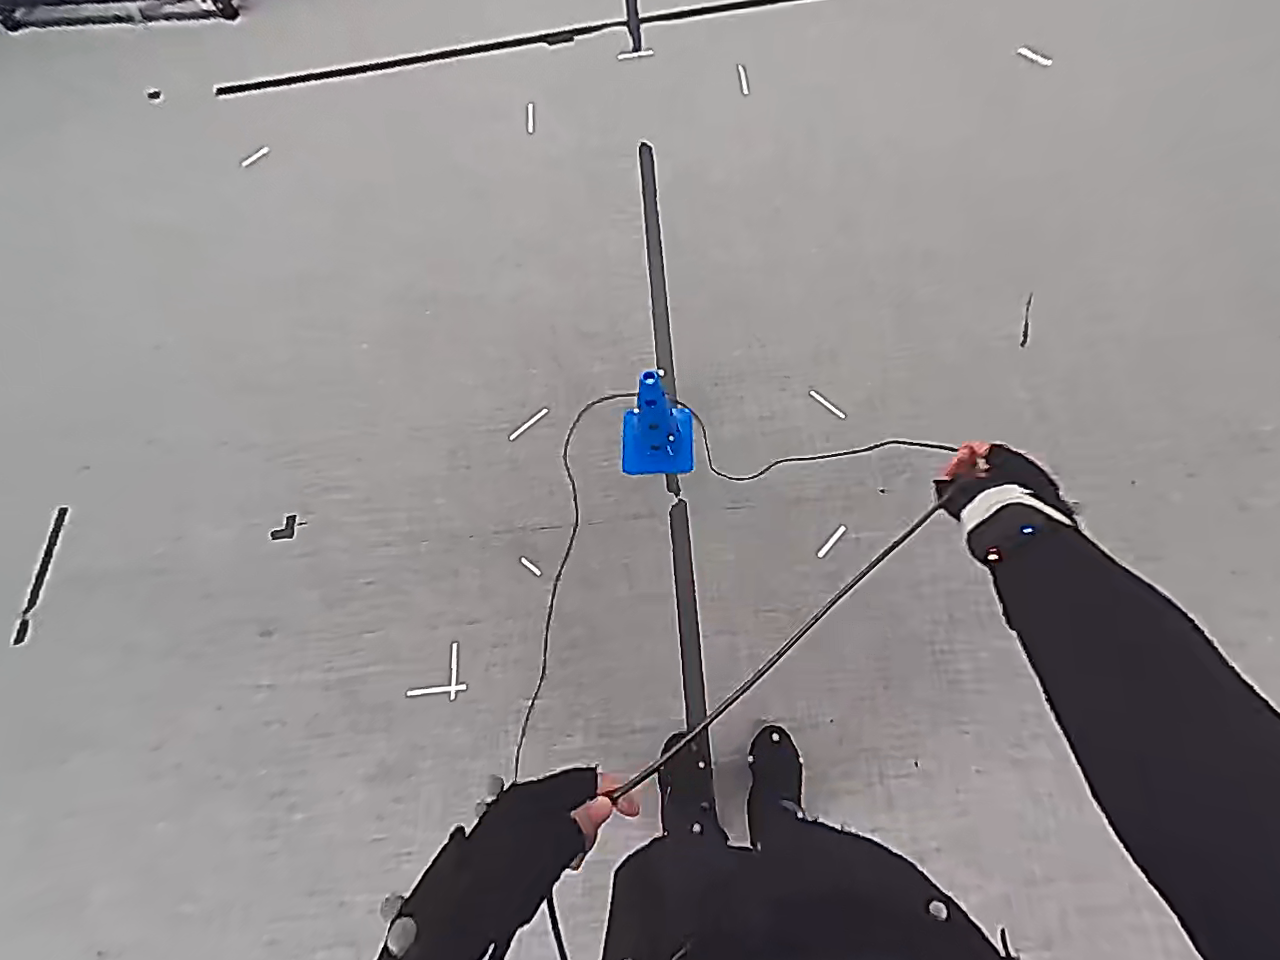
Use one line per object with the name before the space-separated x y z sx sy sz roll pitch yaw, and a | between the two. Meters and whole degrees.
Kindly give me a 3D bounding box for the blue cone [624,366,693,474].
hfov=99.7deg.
blue cone | 0.035 -0.163 1.352 0.193 0.380 0.192 -3 70 5
